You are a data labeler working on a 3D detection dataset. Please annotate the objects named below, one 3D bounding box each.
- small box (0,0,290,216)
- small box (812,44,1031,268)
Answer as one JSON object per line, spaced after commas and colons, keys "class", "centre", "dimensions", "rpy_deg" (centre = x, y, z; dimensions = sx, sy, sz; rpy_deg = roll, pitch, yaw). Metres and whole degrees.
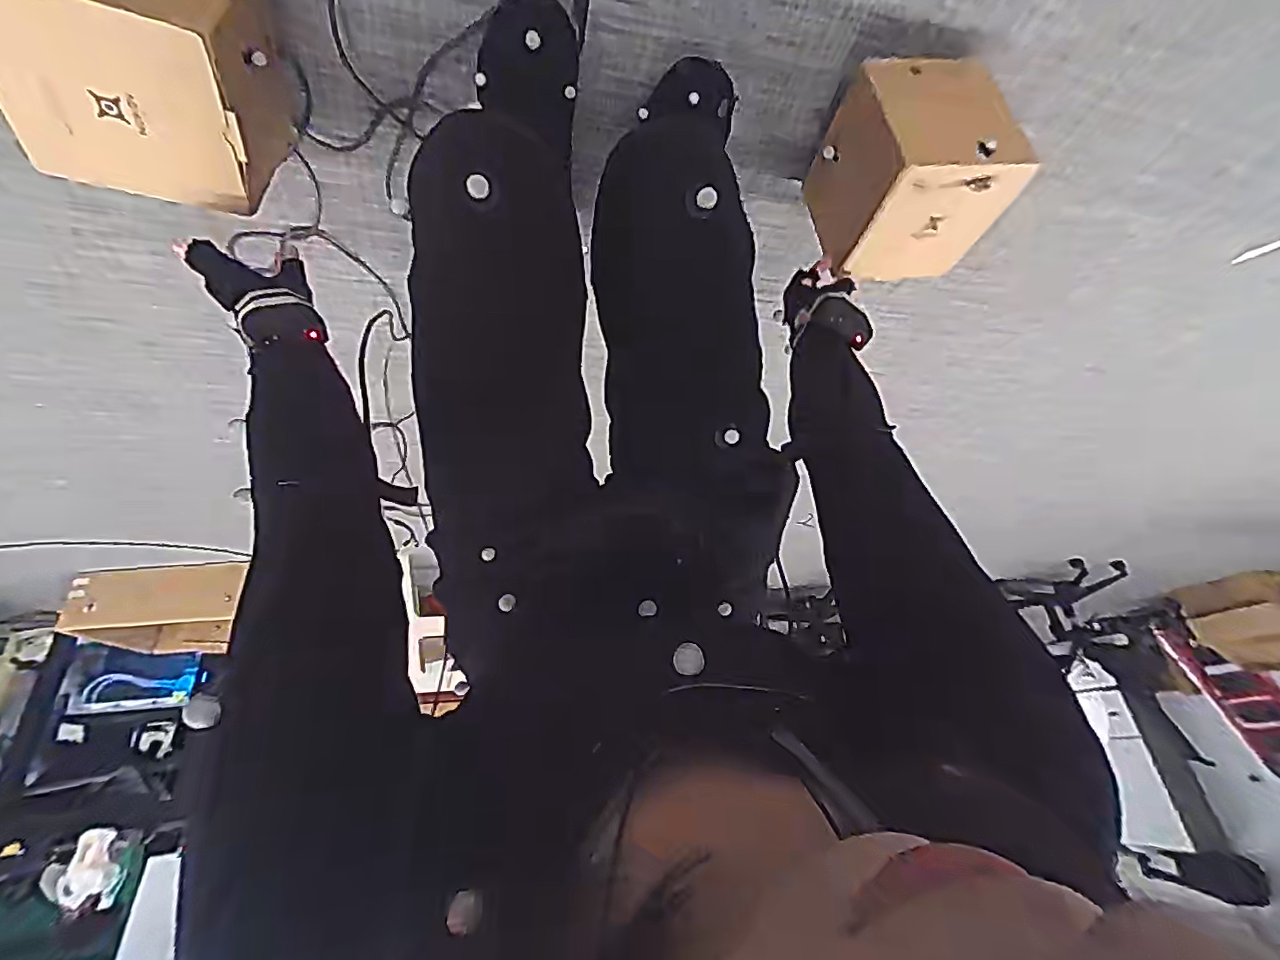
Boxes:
{"class": "small box", "centre": [-0.459, -0.393, 0.515], "dimensions": [0.179, 0.176, 0.168], "rpy_deg": [6, 147, -17]}
{"class": "small box", "centre": [0.326, -0.392, 0.671], "dimensions": [0.168, 0.176, 0.179], "rpy_deg": [-2, 156, -4]}
